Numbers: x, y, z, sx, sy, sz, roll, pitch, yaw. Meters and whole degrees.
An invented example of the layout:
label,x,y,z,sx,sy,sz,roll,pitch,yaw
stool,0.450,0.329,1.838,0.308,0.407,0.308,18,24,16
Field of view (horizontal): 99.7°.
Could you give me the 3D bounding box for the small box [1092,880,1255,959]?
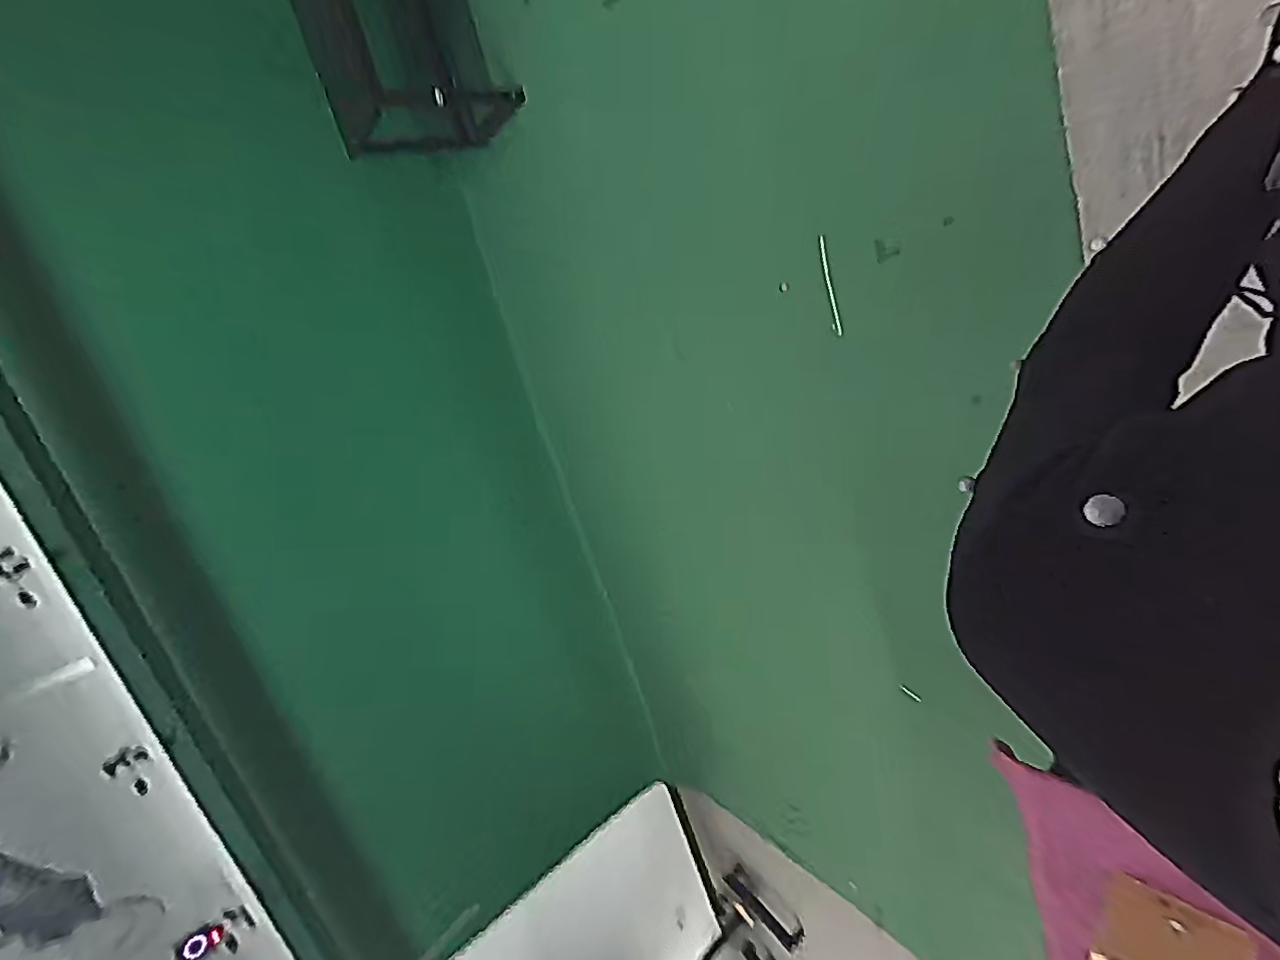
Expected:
label,x,y,z,sx,sy,sz,roll,pitch,yaw
small box,0.876,0.824,0.886,0.168,0.176,0.179,3,115,54
